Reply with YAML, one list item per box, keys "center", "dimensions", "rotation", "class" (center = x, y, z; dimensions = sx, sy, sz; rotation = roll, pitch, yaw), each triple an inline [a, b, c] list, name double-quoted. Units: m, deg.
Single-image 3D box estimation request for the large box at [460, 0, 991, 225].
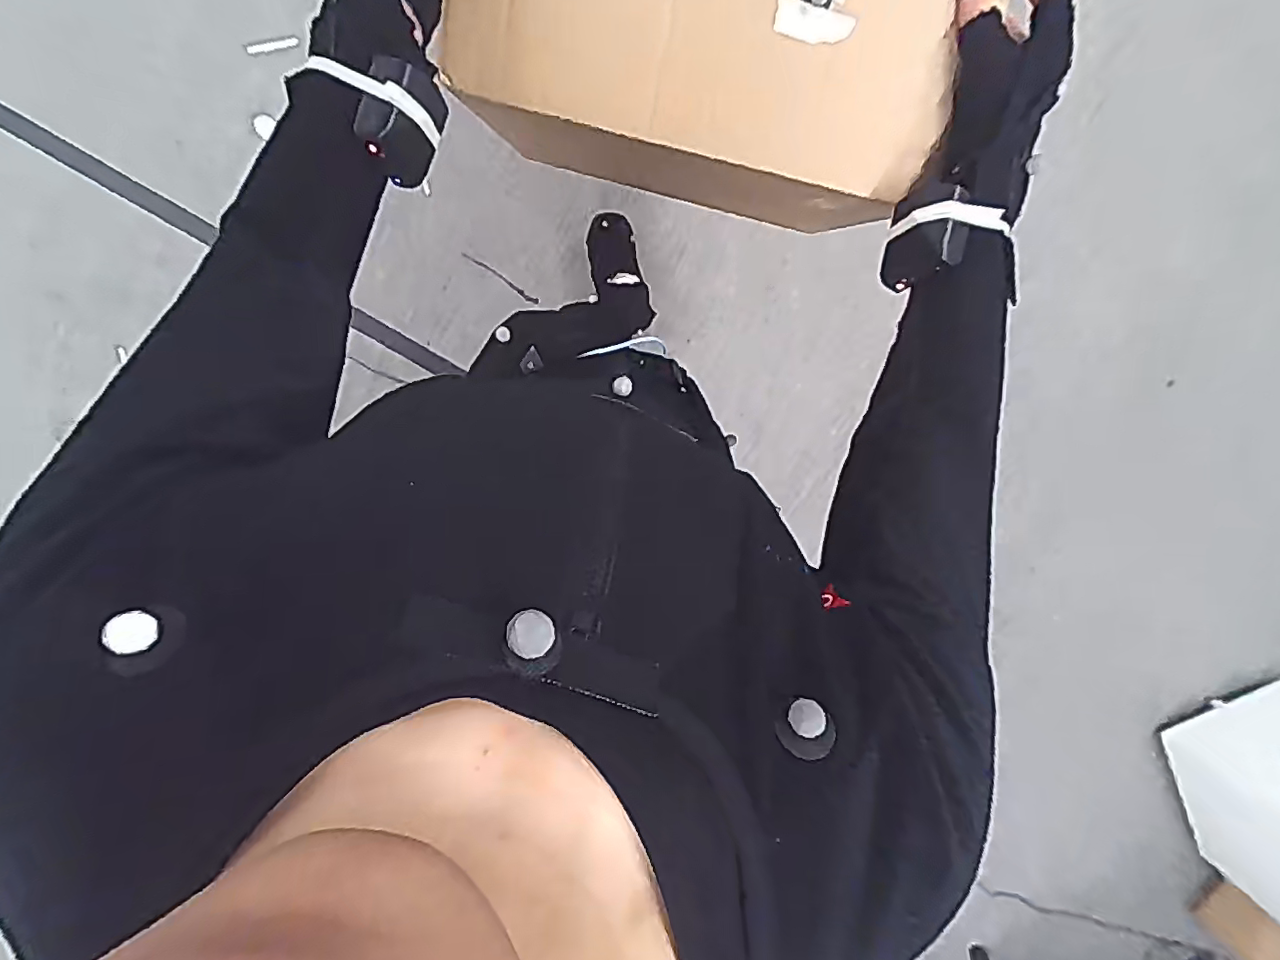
- center: [0.076, -0.468, 0.533]
  dimensions: [0.408, 0.320, 0.320]
  rotation: [12, 112, -5]
  class: "large box"
